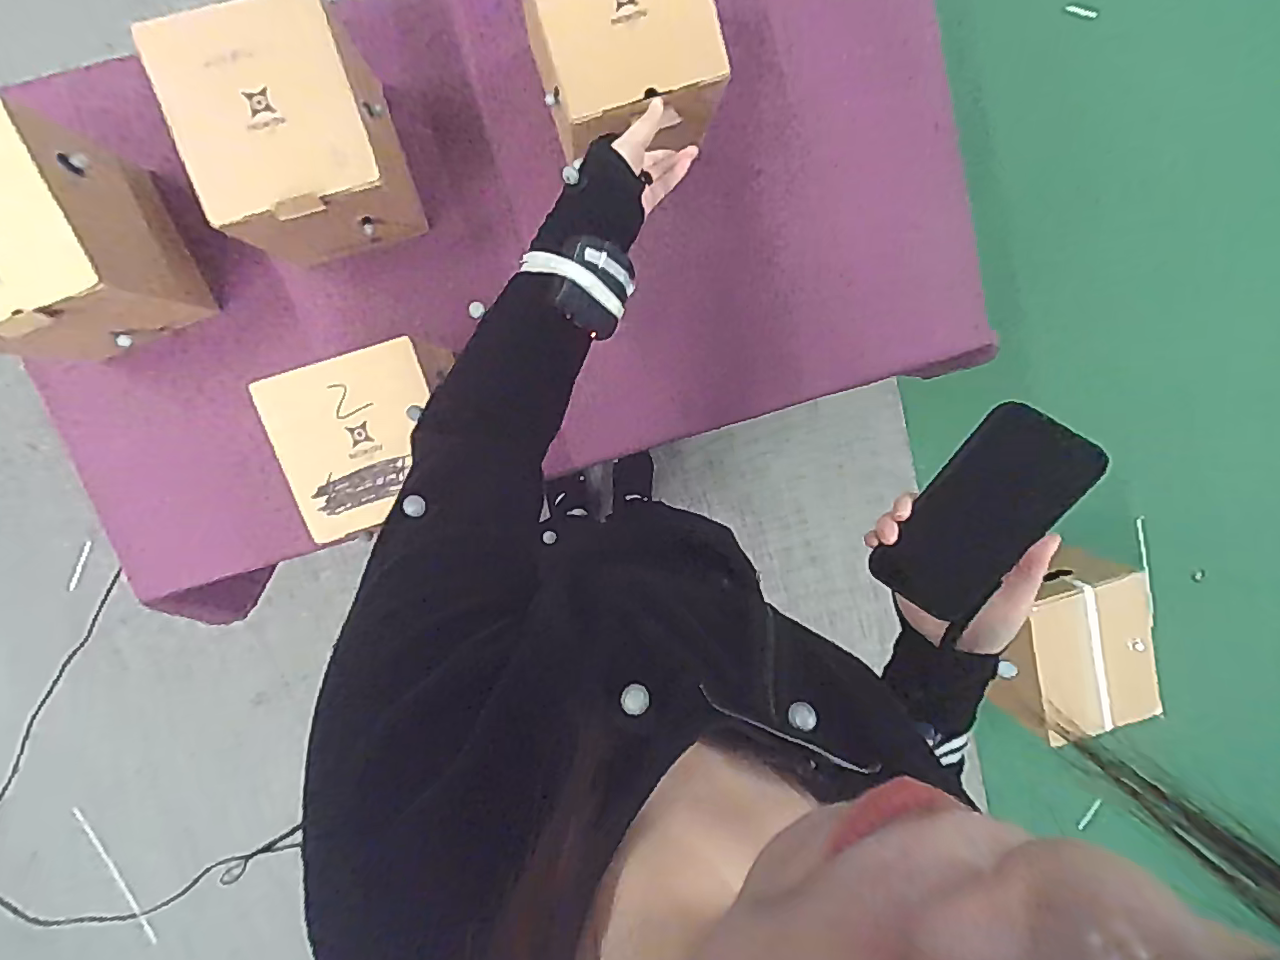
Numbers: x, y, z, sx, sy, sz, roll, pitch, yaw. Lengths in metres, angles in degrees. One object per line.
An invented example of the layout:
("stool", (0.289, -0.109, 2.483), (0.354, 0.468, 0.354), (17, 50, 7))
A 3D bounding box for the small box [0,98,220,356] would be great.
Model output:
("small box", (-0.610, -0.244, 0.571), (0.168, 0.176, 0.179), (-22, 100, -1))

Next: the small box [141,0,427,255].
("small box", (-0.351, -0.356, 0.577), (0.168, 0.176, 0.179), (-17, 100, -3))

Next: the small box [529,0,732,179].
("small box", (-0.020, -0.467, 0.586), (0.168, 0.176, 0.179), (-19, 101, -1))
